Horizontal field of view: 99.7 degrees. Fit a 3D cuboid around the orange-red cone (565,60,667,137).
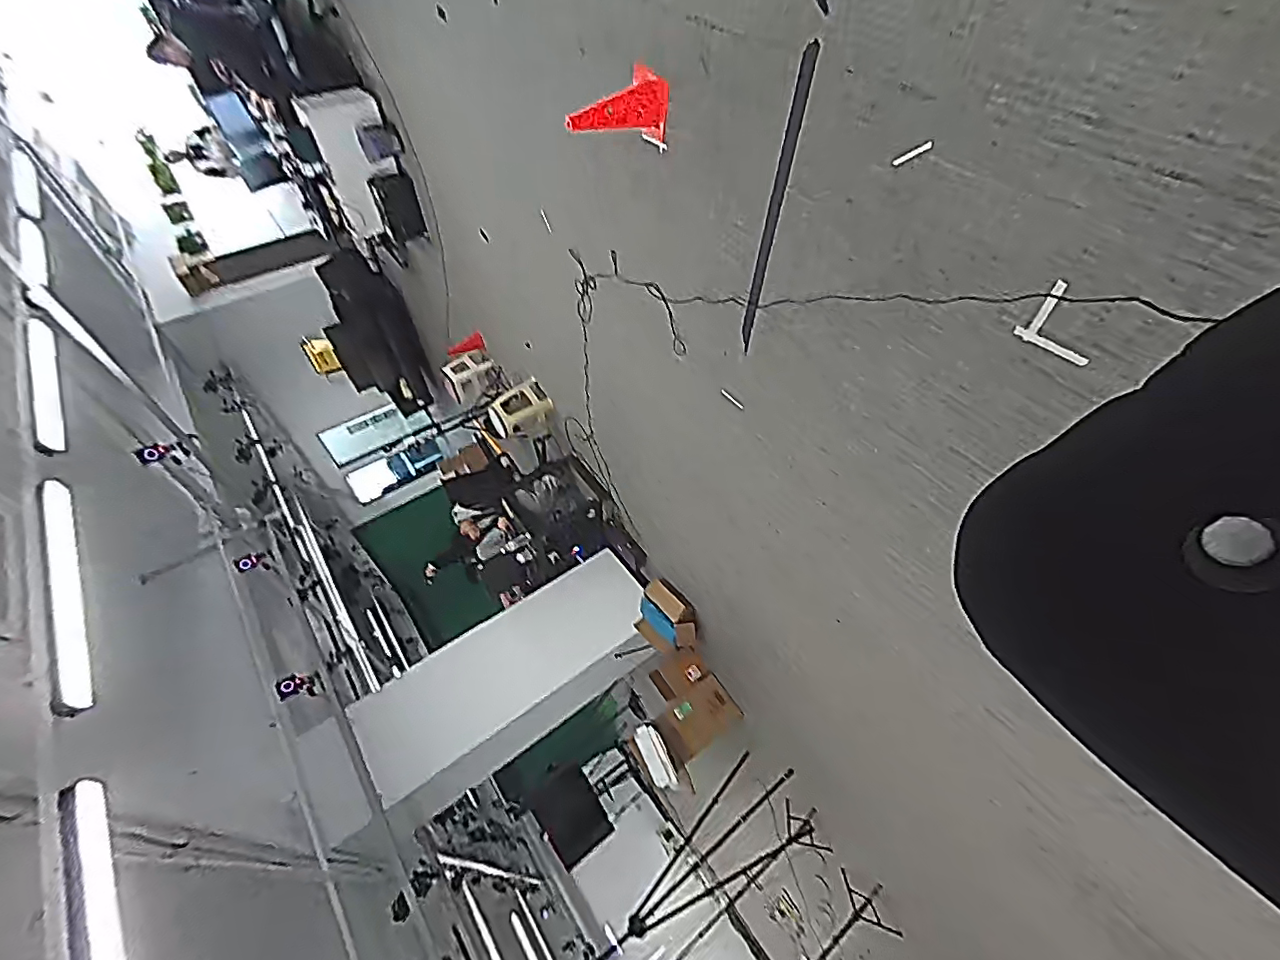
[{"bbox_3d":[-0.108,-1.324,1.925,0.198,0.360,0.199,50,155,22],"label":"orange-red cone"}]
